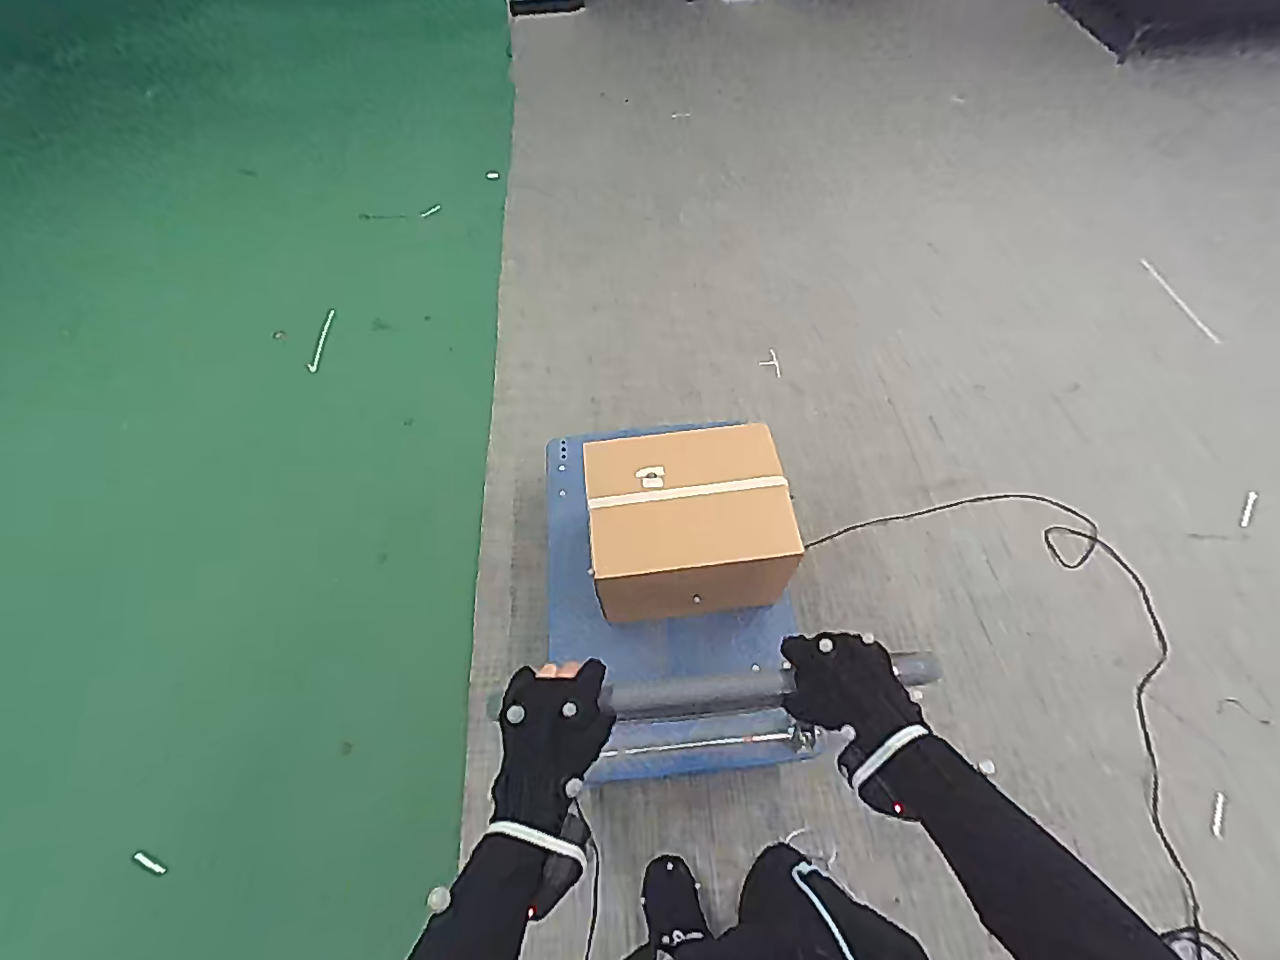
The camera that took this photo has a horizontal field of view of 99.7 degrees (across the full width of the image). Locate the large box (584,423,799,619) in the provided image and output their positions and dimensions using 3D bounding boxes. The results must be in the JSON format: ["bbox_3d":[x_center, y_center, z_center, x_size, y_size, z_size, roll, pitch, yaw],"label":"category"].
[{"bbox_3d":[0.102,0.106,1.233,0.408,0.320,0.320,-7,59,0],"label":"large box"}]
